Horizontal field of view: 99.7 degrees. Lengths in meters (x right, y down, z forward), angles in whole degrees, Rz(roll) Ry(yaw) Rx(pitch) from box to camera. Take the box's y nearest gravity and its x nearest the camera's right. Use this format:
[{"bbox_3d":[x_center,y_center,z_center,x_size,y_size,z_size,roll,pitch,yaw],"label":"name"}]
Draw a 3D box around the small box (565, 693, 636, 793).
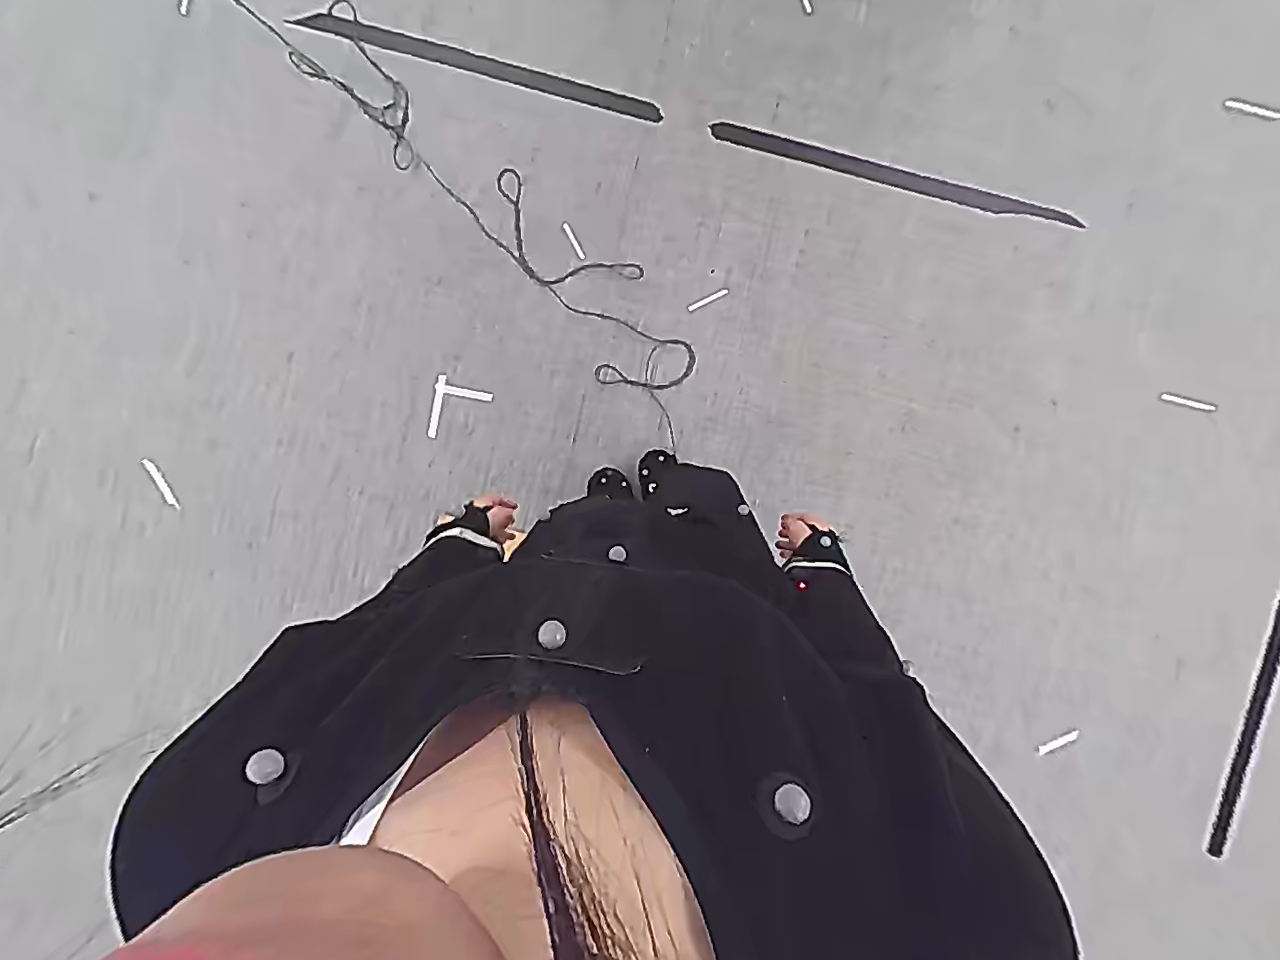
[{"bbox_3d":[-0.099,0.684,1.419,0.168,0.176,0.179,5,92,-2],"label":"small box"}]
